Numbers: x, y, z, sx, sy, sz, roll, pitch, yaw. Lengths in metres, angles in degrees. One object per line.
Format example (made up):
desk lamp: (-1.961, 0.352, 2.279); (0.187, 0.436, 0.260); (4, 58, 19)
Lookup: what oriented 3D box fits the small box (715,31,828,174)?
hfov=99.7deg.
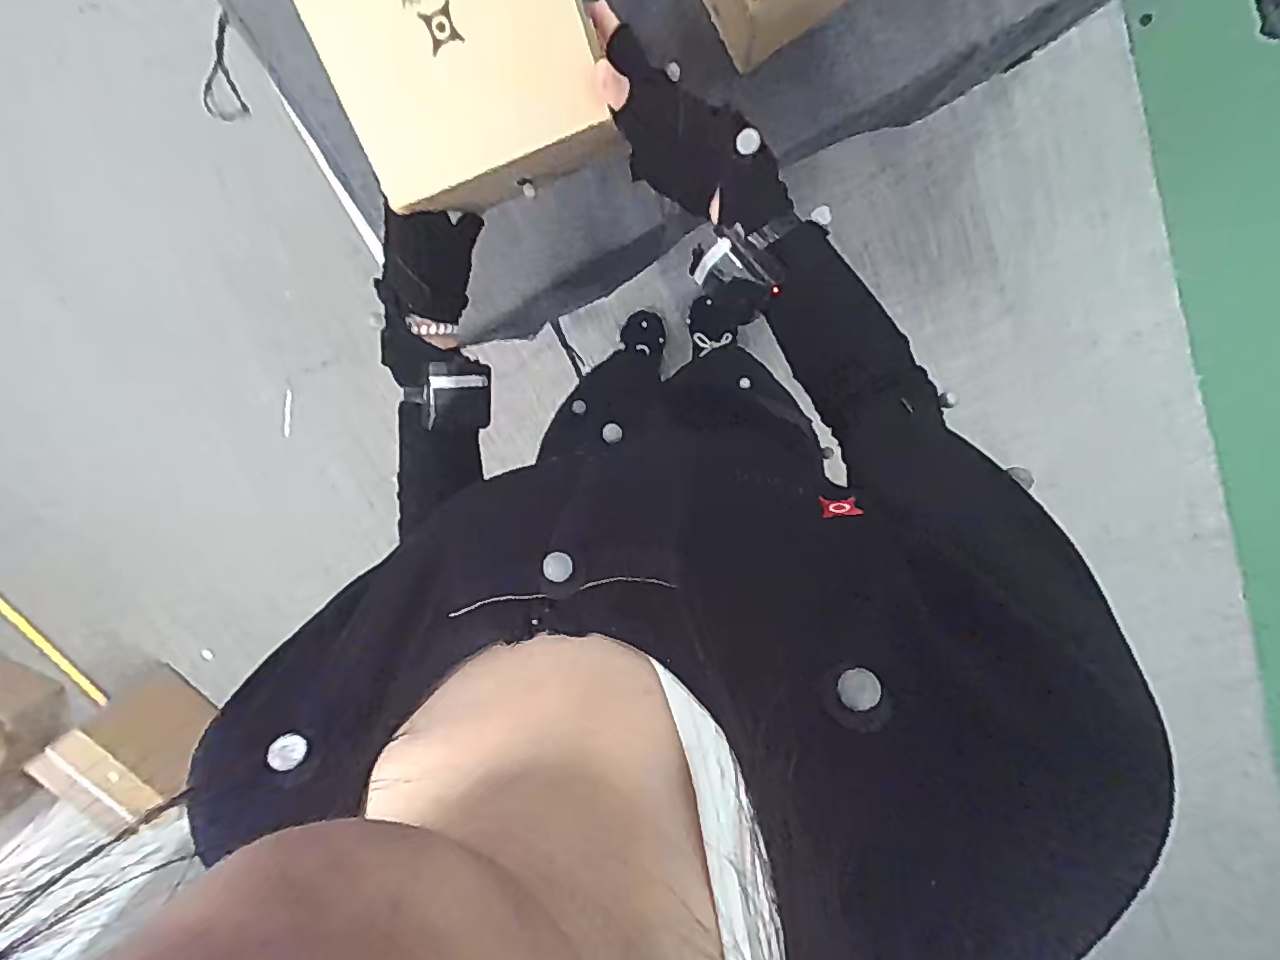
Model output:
small box: (0.271, -0.788, 1.150); (0.179, 0.176, 0.168); (-26, 105, 15)

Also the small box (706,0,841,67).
small box: (0.131, -0.527, 0.484); (0.179, 0.176, 0.168); (-29, 104, 14)

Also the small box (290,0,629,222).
small box: (-0.114, -0.310, 0.398); (0.168, 0.176, 0.179); (-15, 114, 12)
